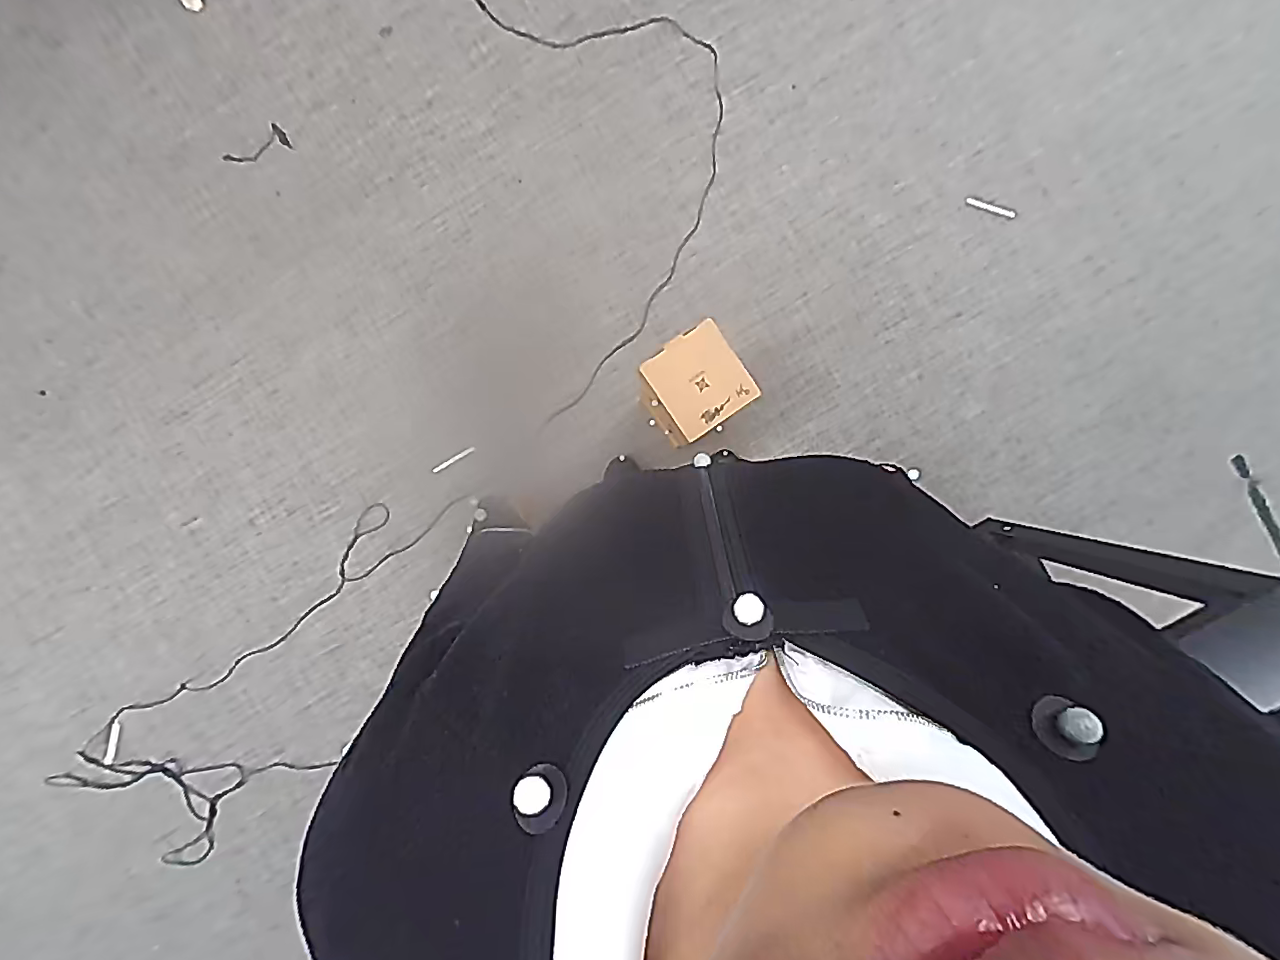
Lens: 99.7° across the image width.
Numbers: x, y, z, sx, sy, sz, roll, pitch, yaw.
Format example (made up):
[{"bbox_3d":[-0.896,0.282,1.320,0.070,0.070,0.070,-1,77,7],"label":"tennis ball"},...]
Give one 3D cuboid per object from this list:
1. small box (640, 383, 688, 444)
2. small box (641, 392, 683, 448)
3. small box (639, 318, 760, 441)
[{"bbox_3d":[0.117,-0.196,1.249,0.179,0.176,0.168,-37,93,1],"label":"small box"},{"bbox_3d":[0.116,-0.199,1.412,0.179,0.176,0.168,-34,91,3],"label":"small box"},{"bbox_3d":[0.112,-0.190,1.086,0.168,0.176,0.179,-34,92,3],"label":"small box"}]
